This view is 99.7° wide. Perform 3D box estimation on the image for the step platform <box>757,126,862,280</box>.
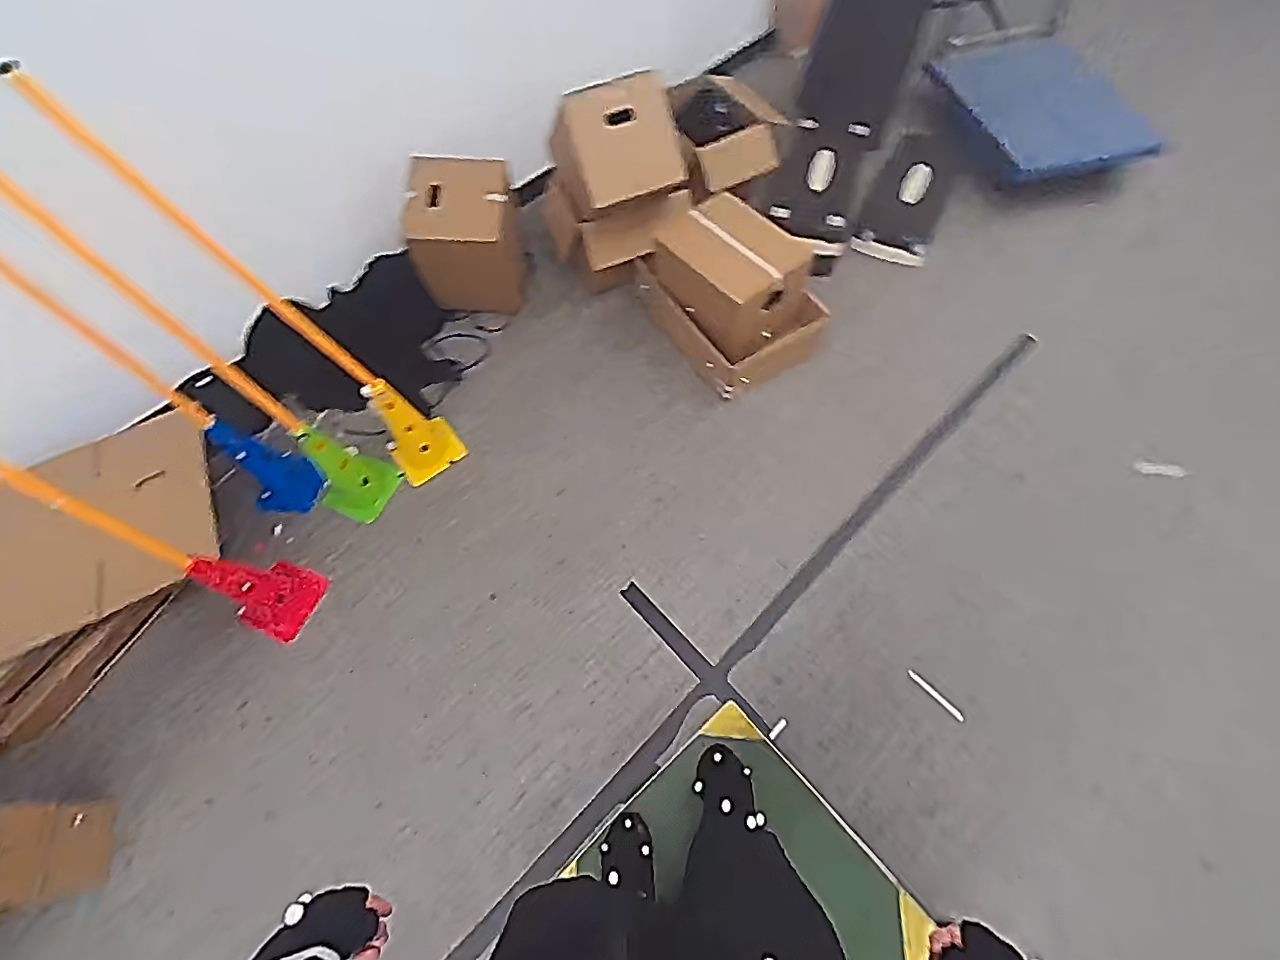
[{"bbox_3d":[0.671,-1.106,2.124,0.286,0.204,0.684,15,65,11],"label":"step platform"}]
